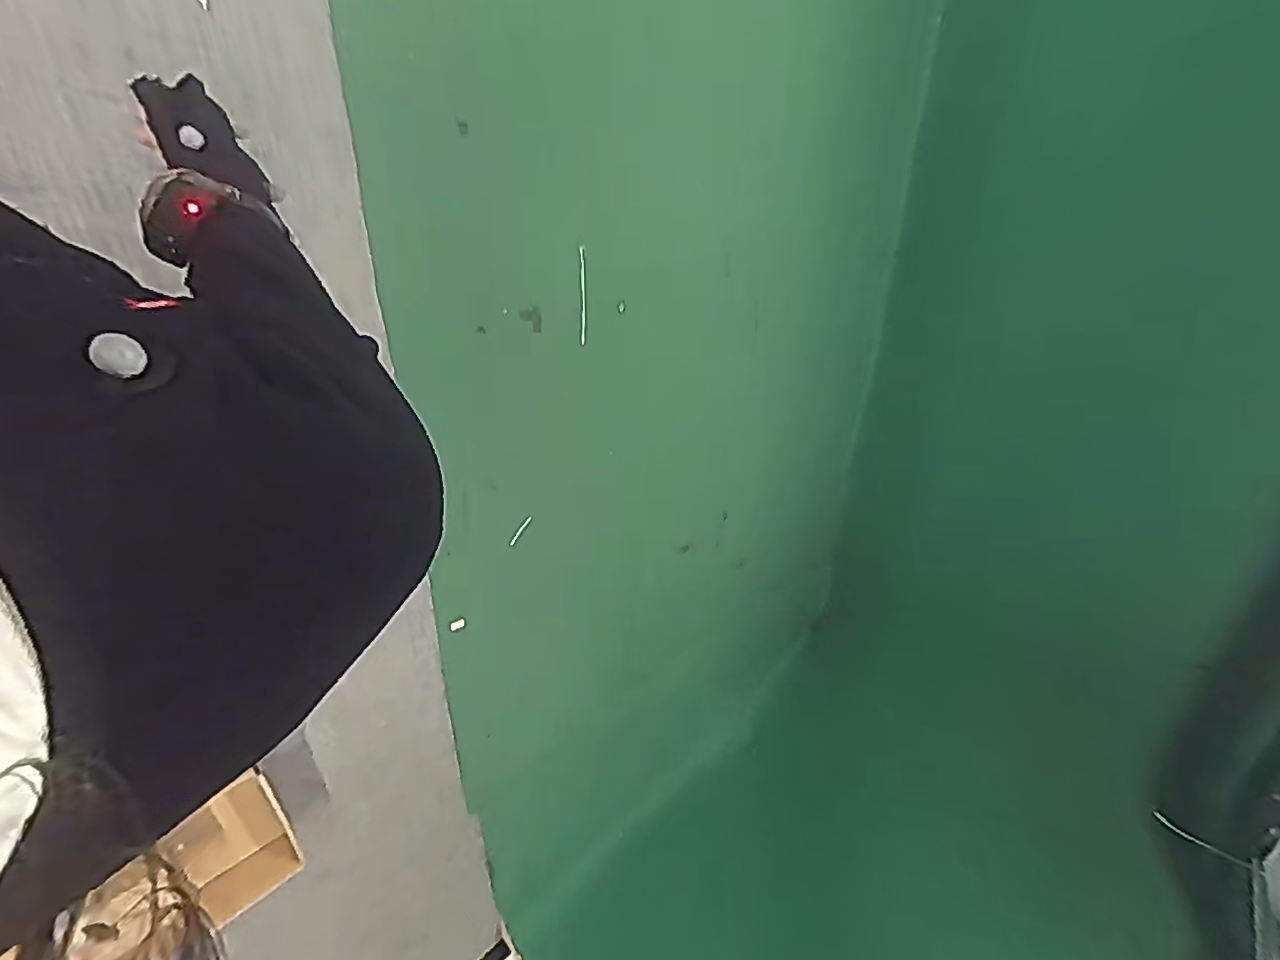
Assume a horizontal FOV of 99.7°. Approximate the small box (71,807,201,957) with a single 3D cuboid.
[{"bbox_3d":[-1.151,0.907,1.237,0.179,0.176,0.168,-25,125,-40],"label":"small box"}]
